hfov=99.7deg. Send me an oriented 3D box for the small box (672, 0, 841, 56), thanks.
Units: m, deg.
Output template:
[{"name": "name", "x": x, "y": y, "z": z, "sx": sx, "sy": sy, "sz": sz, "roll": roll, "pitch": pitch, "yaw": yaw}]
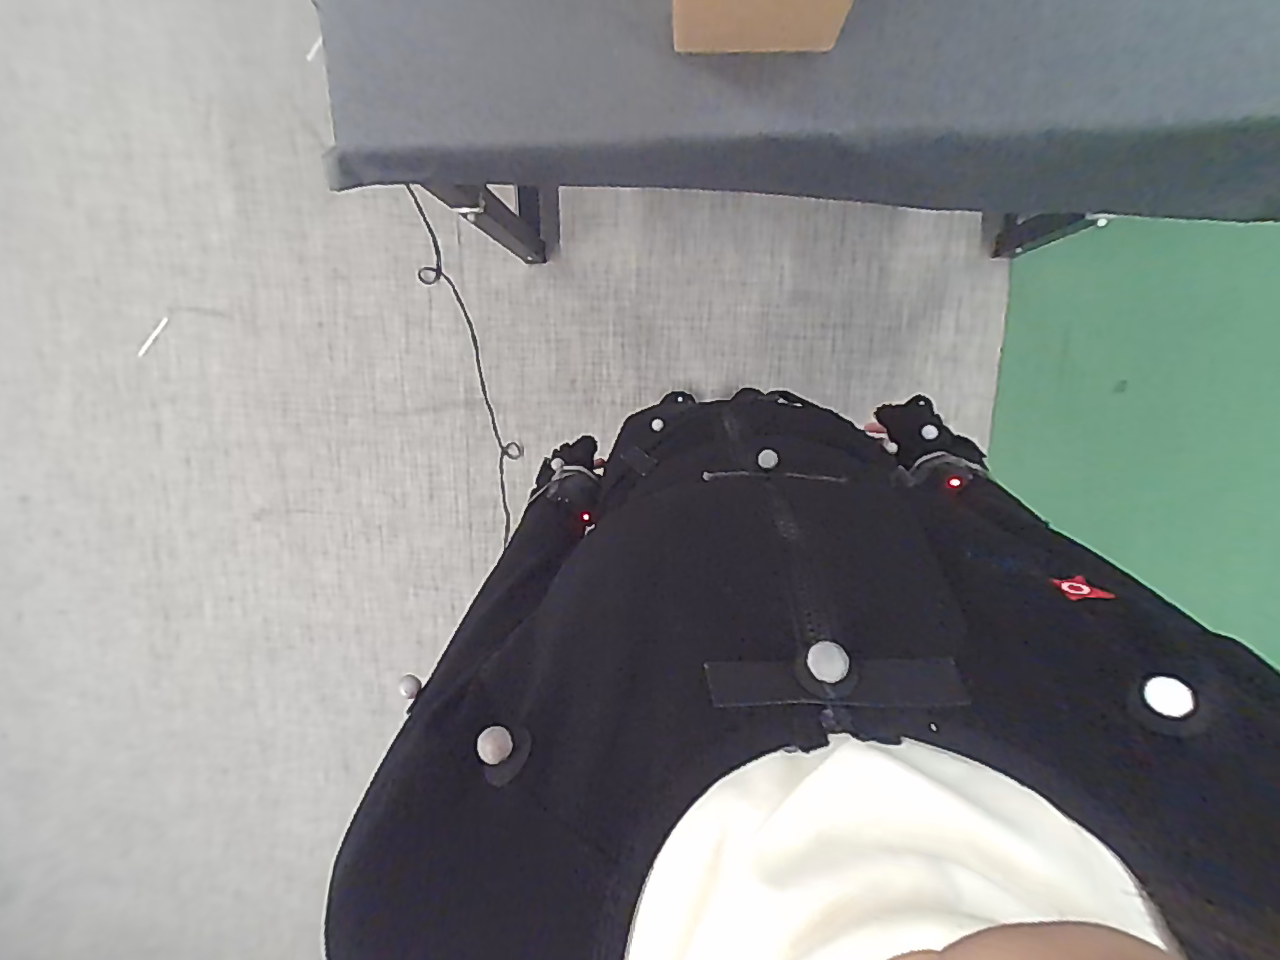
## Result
[{"name": "small box", "x": 0.120, "y": -0.554, "z": 0.530, "sx": 0.179, "sy": 0.176, "sz": 0.168, "roll": 3, "pitch": 101, "yaw": 4}]
